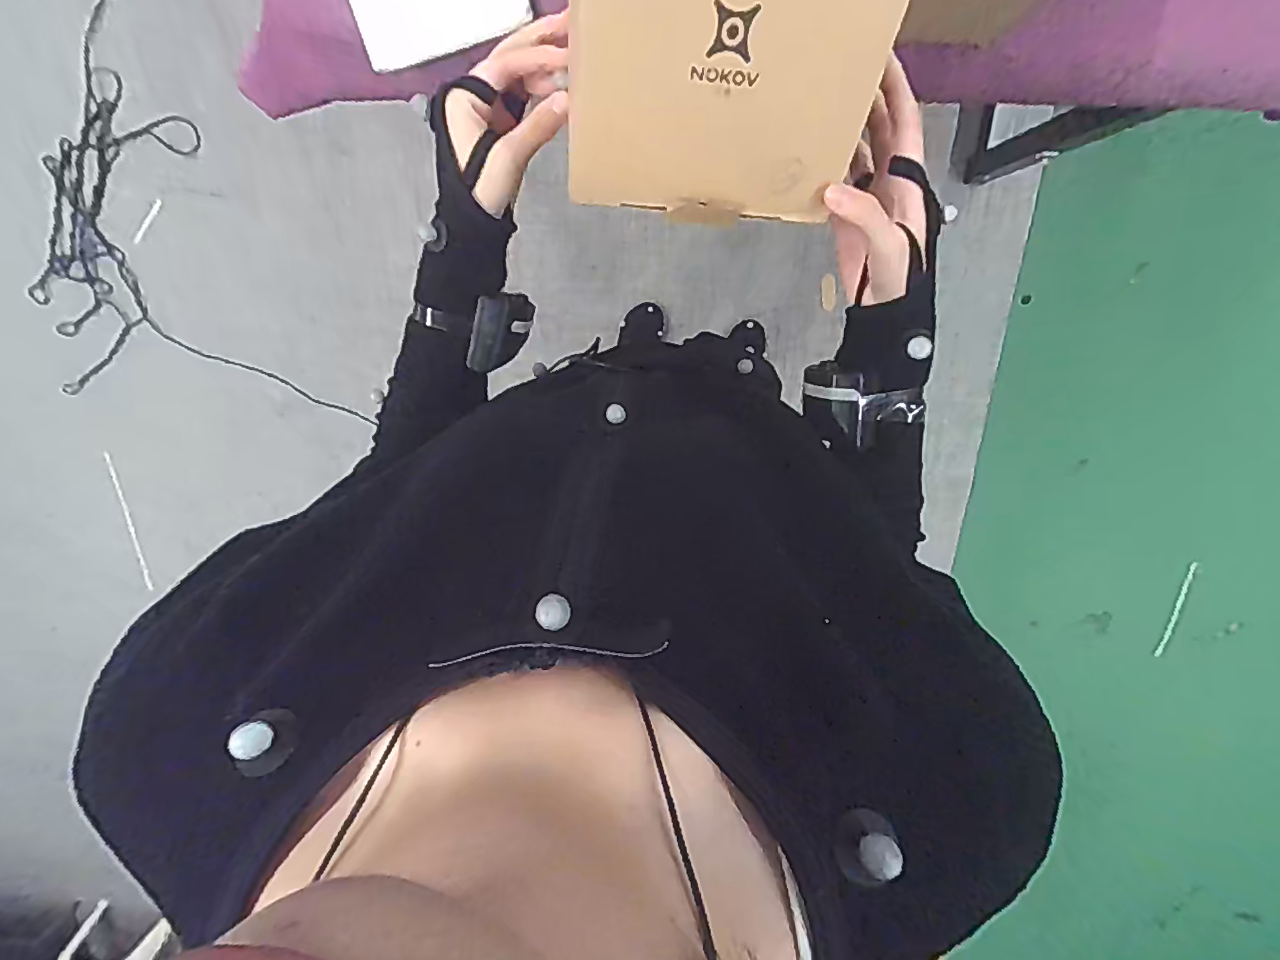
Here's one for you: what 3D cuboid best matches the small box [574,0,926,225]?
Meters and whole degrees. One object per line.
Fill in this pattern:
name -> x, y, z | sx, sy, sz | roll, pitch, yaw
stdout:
small box -> 0.052, -0.281, 0.316 | 0.168, 0.176, 0.179 | 4, 140, -5
